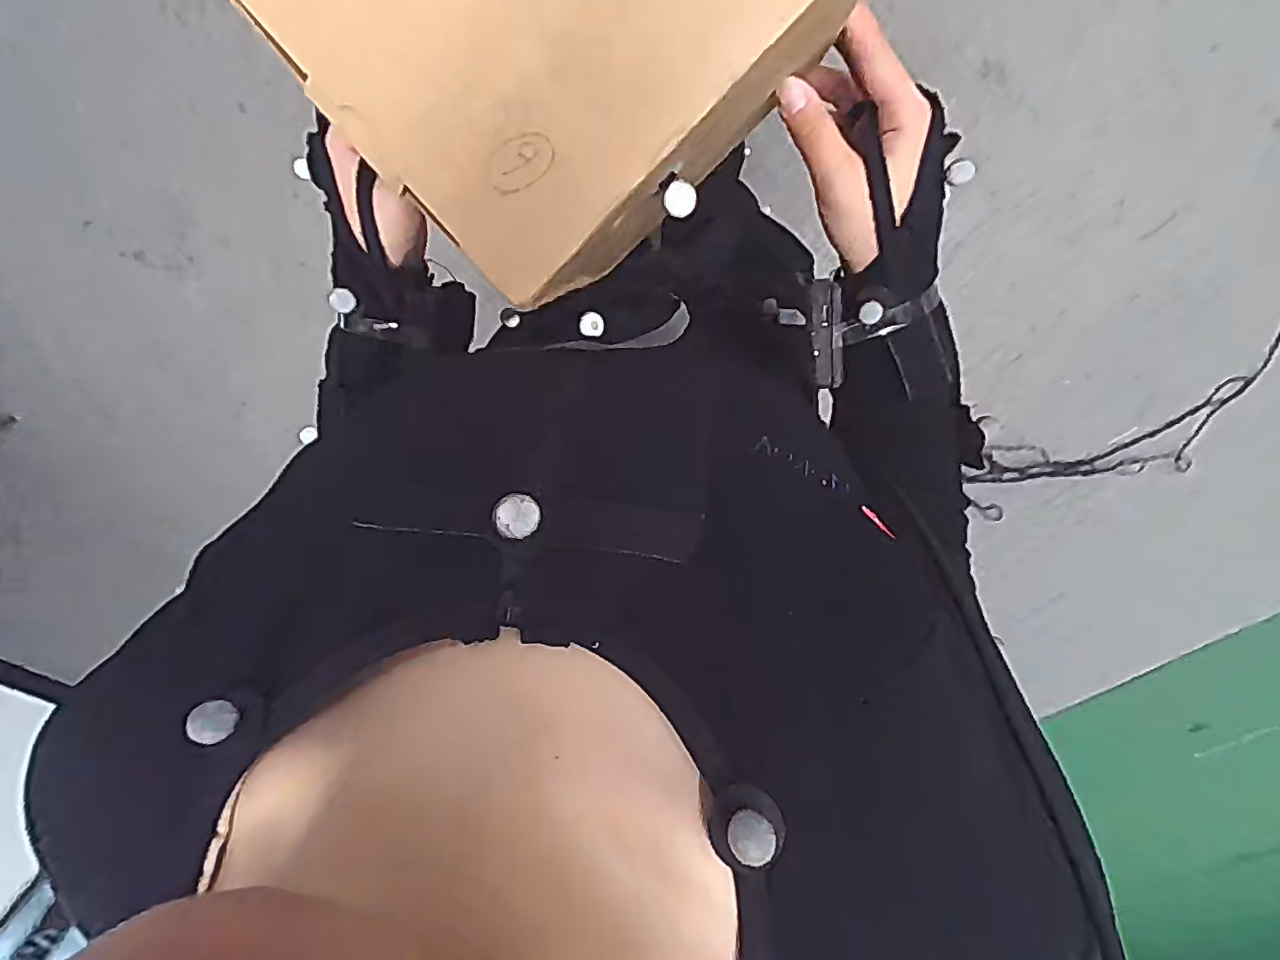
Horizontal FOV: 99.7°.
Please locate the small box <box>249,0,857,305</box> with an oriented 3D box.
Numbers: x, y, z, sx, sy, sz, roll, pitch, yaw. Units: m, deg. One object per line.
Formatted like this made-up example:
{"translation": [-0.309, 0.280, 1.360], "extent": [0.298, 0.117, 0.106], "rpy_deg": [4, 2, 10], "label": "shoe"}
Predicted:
{"translation": [-0.021, -0.205, 0.234], "extent": [0.179, 0.176, 0.168], "rpy_deg": [-37, 105, 23], "label": "small box"}
